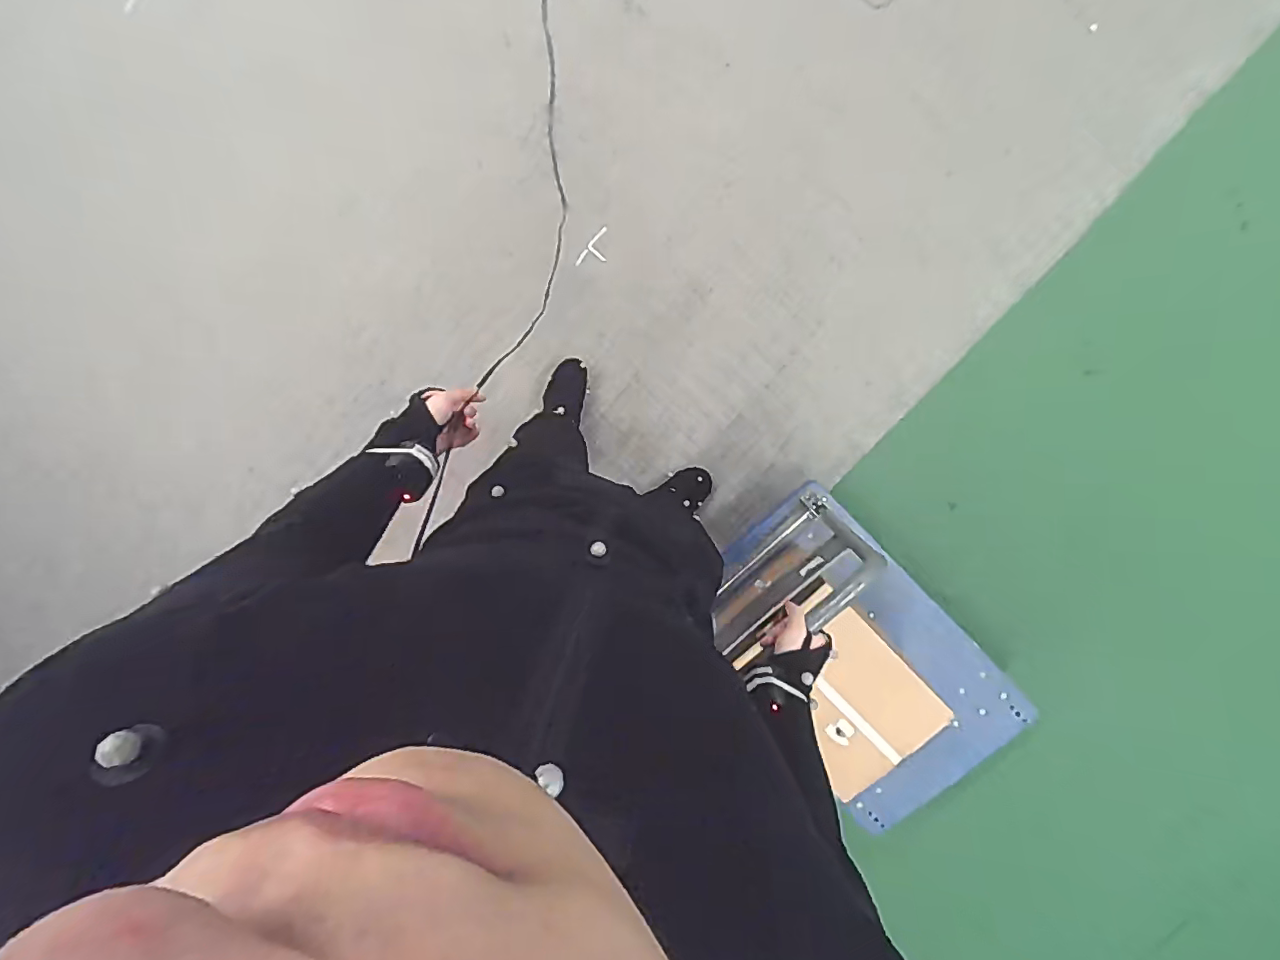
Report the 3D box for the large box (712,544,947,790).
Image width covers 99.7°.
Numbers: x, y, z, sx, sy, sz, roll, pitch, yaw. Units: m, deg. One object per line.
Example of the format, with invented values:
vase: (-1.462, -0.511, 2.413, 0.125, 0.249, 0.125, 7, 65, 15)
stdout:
large box: (0.424, 0.427, 1.315, 0.320, 0.320, 0.408, -43, 93, 10)
